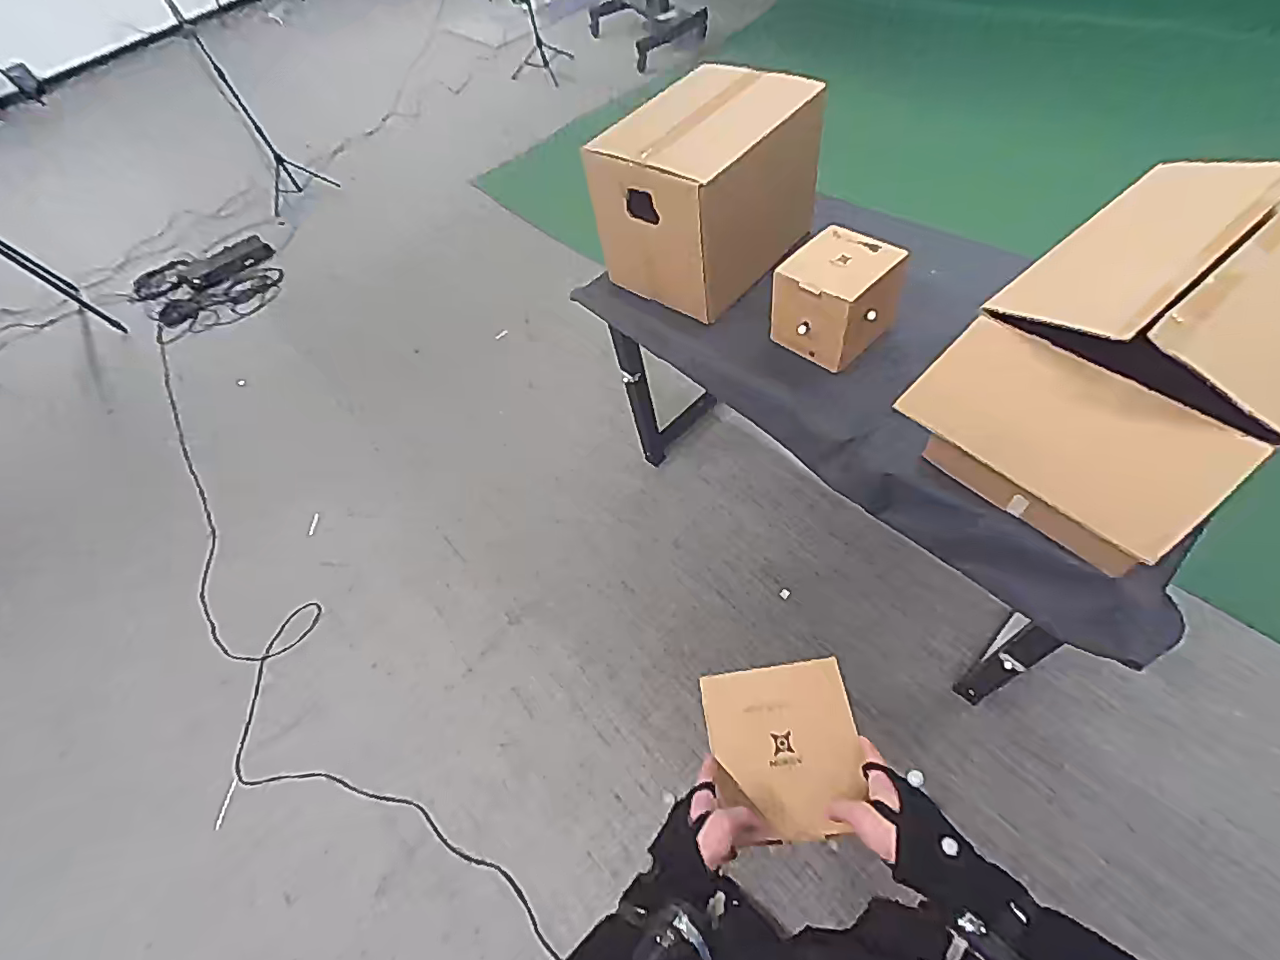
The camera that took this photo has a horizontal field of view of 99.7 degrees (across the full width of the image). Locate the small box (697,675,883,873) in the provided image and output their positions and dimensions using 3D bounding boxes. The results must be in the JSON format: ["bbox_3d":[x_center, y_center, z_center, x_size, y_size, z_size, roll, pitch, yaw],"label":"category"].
[{"bbox_3d":[0.169,0.349,0.649,0.168,0.176,0.179,-11,58,6],"label":"small box"}]
